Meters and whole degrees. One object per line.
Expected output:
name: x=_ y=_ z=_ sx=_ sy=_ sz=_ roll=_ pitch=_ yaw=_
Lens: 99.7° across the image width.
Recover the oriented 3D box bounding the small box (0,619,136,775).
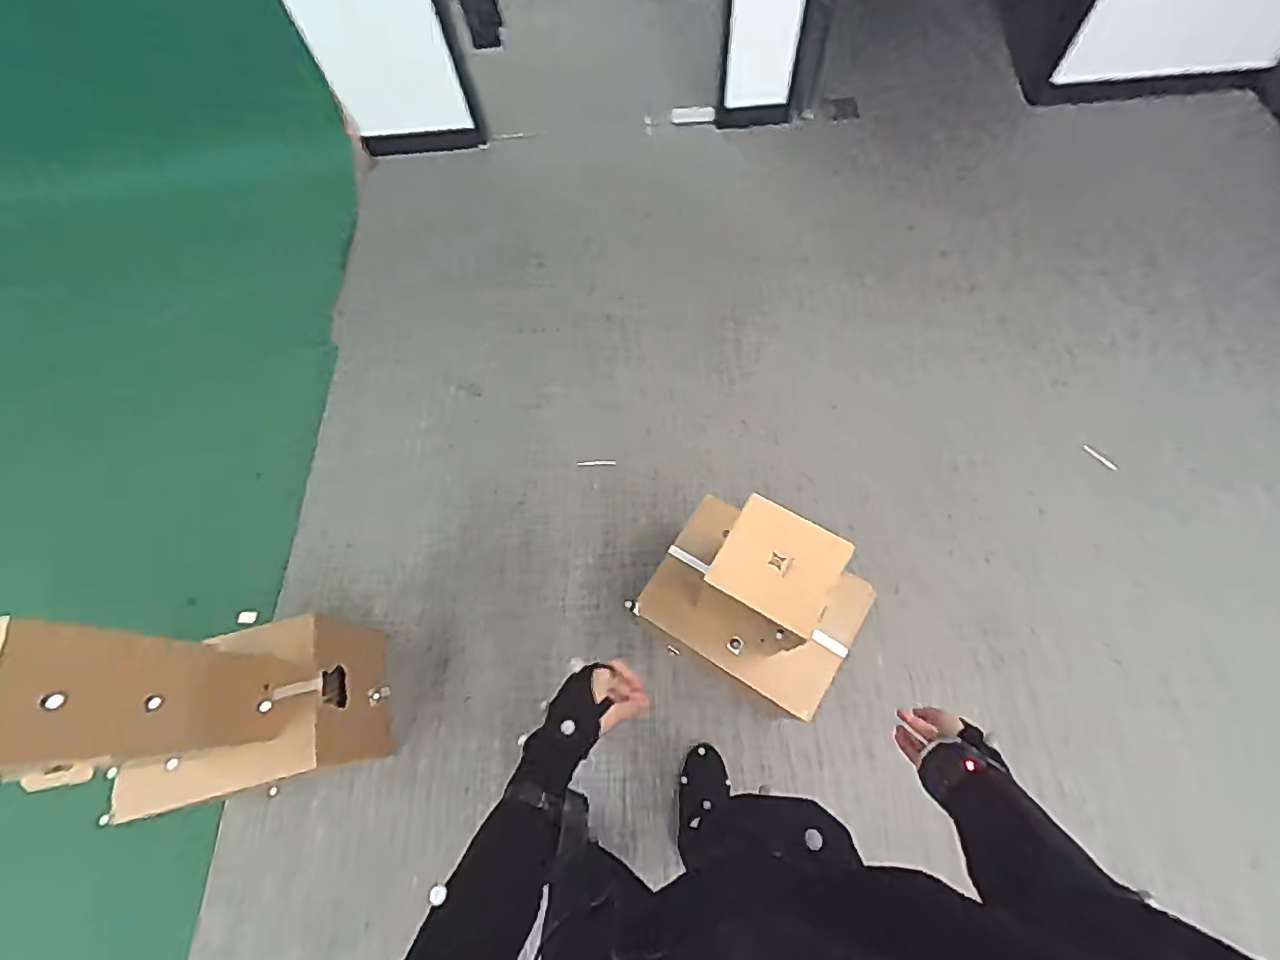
small box: x=-0.831 y=0.294 z=0.719 sx=0.168 sy=0.176 sz=0.179 roll=-11 pitch=69 yaw=-1

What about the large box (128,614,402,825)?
large box: x=-0.823 y=0.533 z=1.241 sx=0.408 sy=0.320 sz=0.320 roll=-16 pitch=66 yaw=-1

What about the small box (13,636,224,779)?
small box: x=-0.815 y=0.359 z=0.869 sx=0.168 sy=0.176 sz=0.179 roll=-10 pitch=67 yaw=0

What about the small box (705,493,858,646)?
small box: x=0.217 y=0.154 z=0.880 sx=0.179 sy=0.176 sz=0.168 roll=28 pitch=72 yaw=14

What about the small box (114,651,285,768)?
small box: x=-0.813 y=0.429 z=1.018 sx=0.179 sy=0.176 sz=0.168 roll=-12 pitch=68 yaw=-1
